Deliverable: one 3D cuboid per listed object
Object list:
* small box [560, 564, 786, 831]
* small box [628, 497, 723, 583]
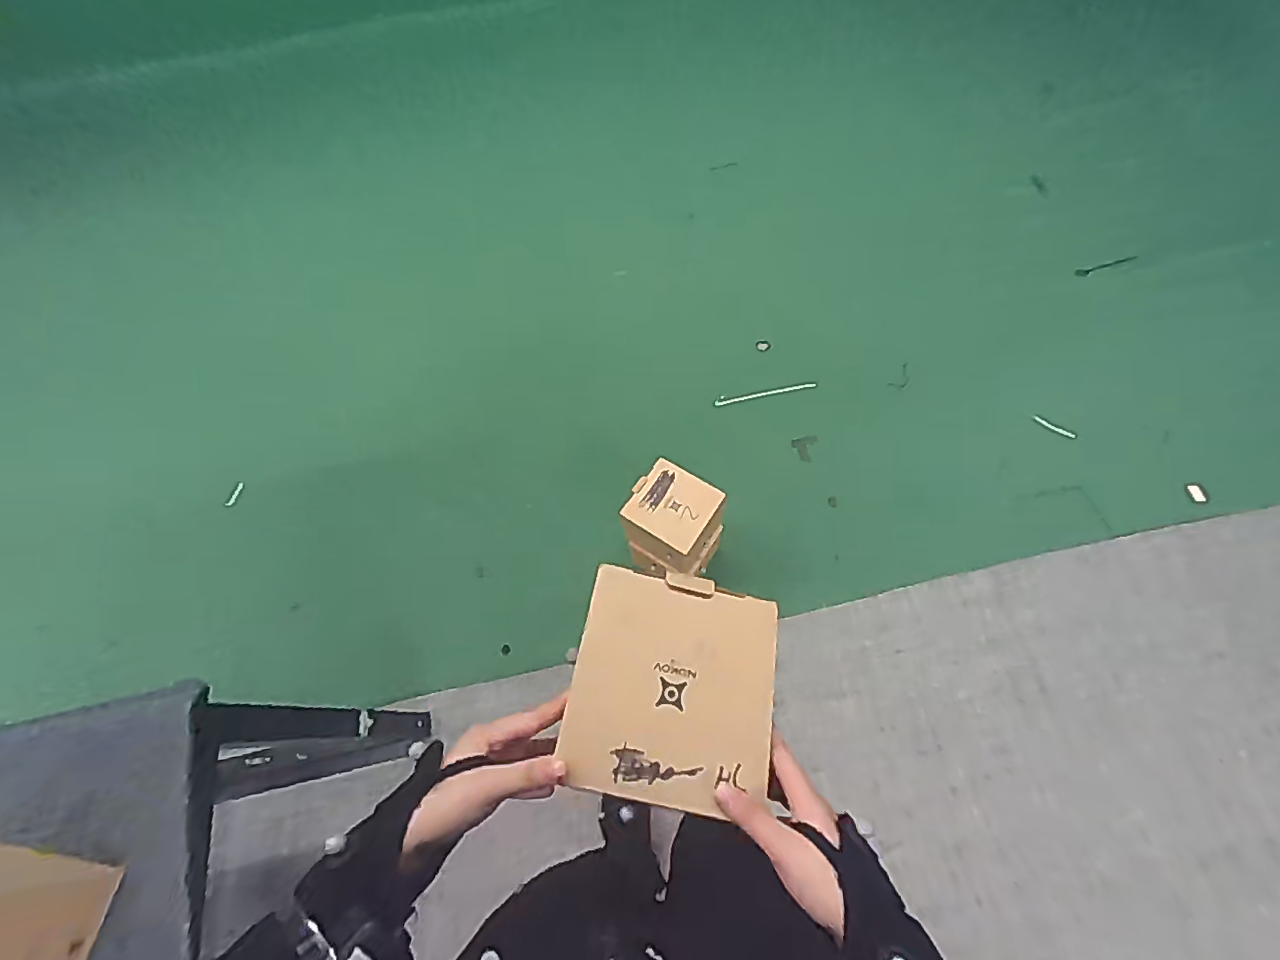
[{"bbox_3d":[0.024,0.203,0.502,0.168,0.176,0.179,13,59,-1],"label":"small box"},{"bbox_3d":[0.091,0.176,1.378,0.179,0.176,0.168,30,71,16],"label":"small box"}]
